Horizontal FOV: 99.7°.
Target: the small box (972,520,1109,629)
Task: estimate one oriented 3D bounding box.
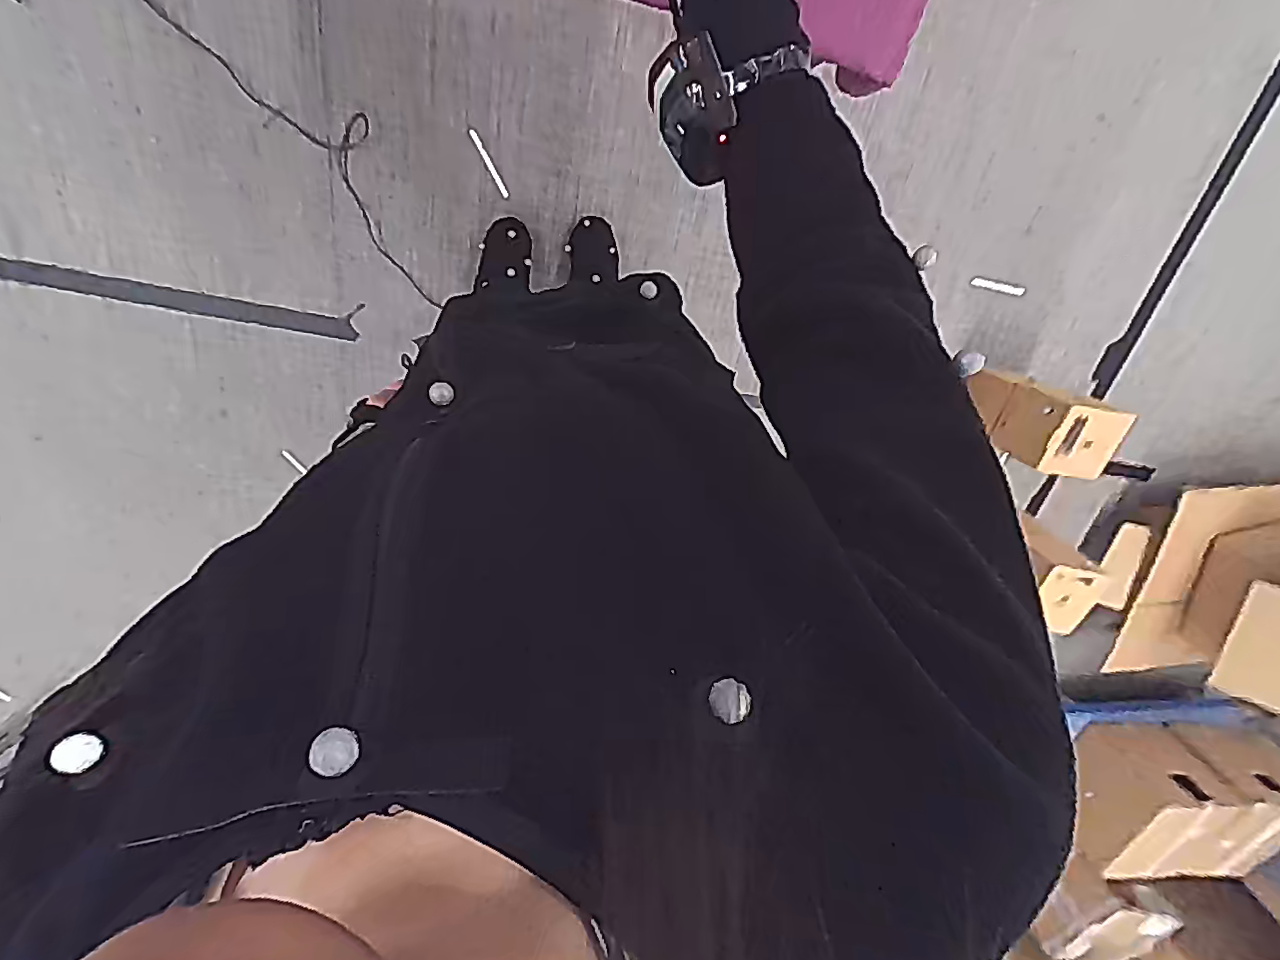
[{"bbox_3d":[0.944,0.225,1.300,0.168,0.176,0.179,12,117,-12],"label":"small box"}]

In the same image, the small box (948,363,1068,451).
[{"bbox_3d":[0.973,-0.200,1.451,0.168,0.176,0.179,8,117,-11],"label":"small box"}]
